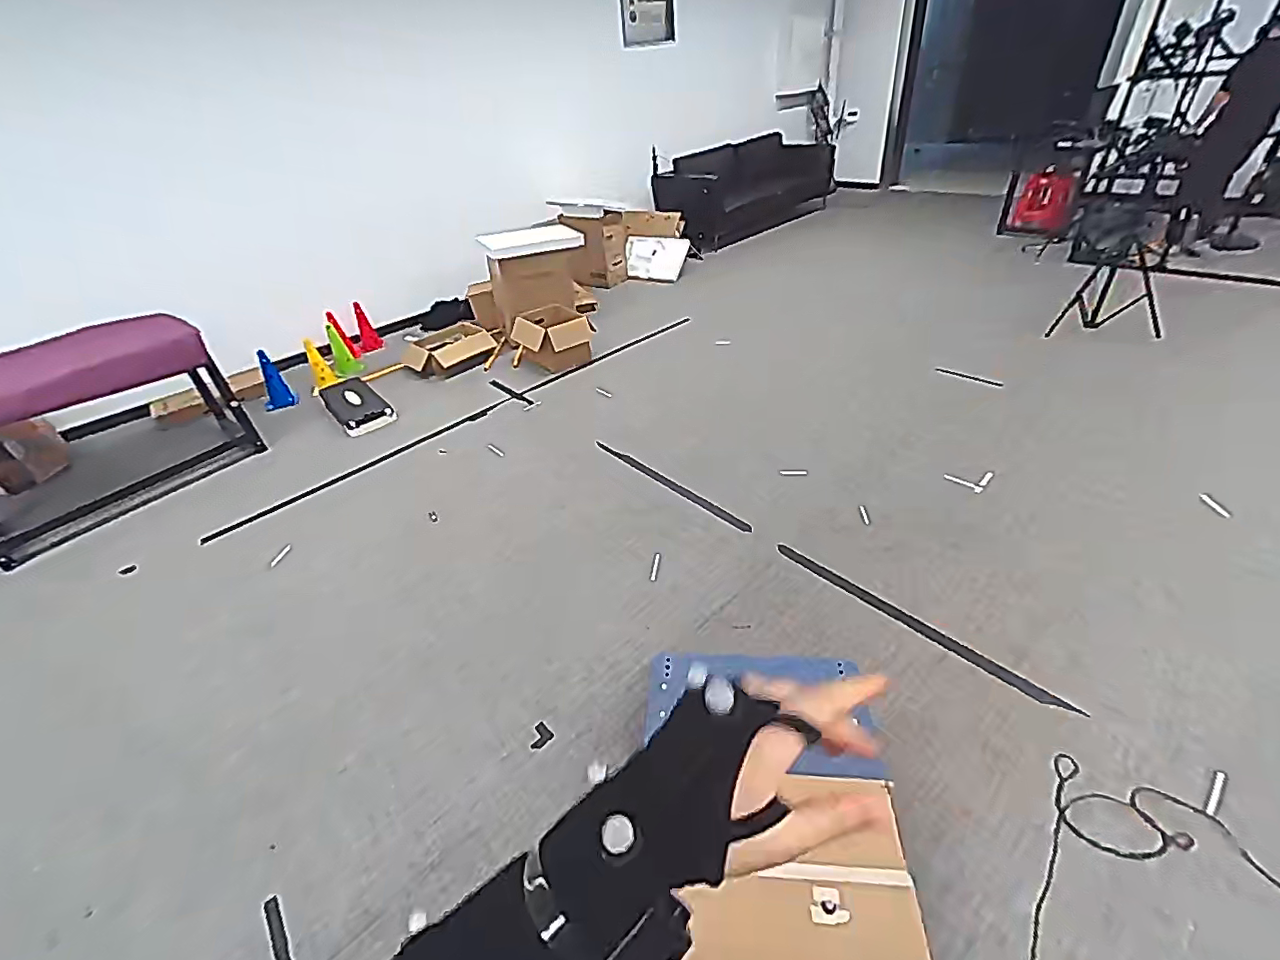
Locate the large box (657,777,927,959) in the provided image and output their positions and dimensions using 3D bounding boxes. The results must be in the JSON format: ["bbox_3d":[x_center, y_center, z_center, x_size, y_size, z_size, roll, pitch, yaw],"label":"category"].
[{"bbox_3d":[0.242,0.773,0.972,0.408,0.320,0.320,0,38,7],"label":"large box"}]
